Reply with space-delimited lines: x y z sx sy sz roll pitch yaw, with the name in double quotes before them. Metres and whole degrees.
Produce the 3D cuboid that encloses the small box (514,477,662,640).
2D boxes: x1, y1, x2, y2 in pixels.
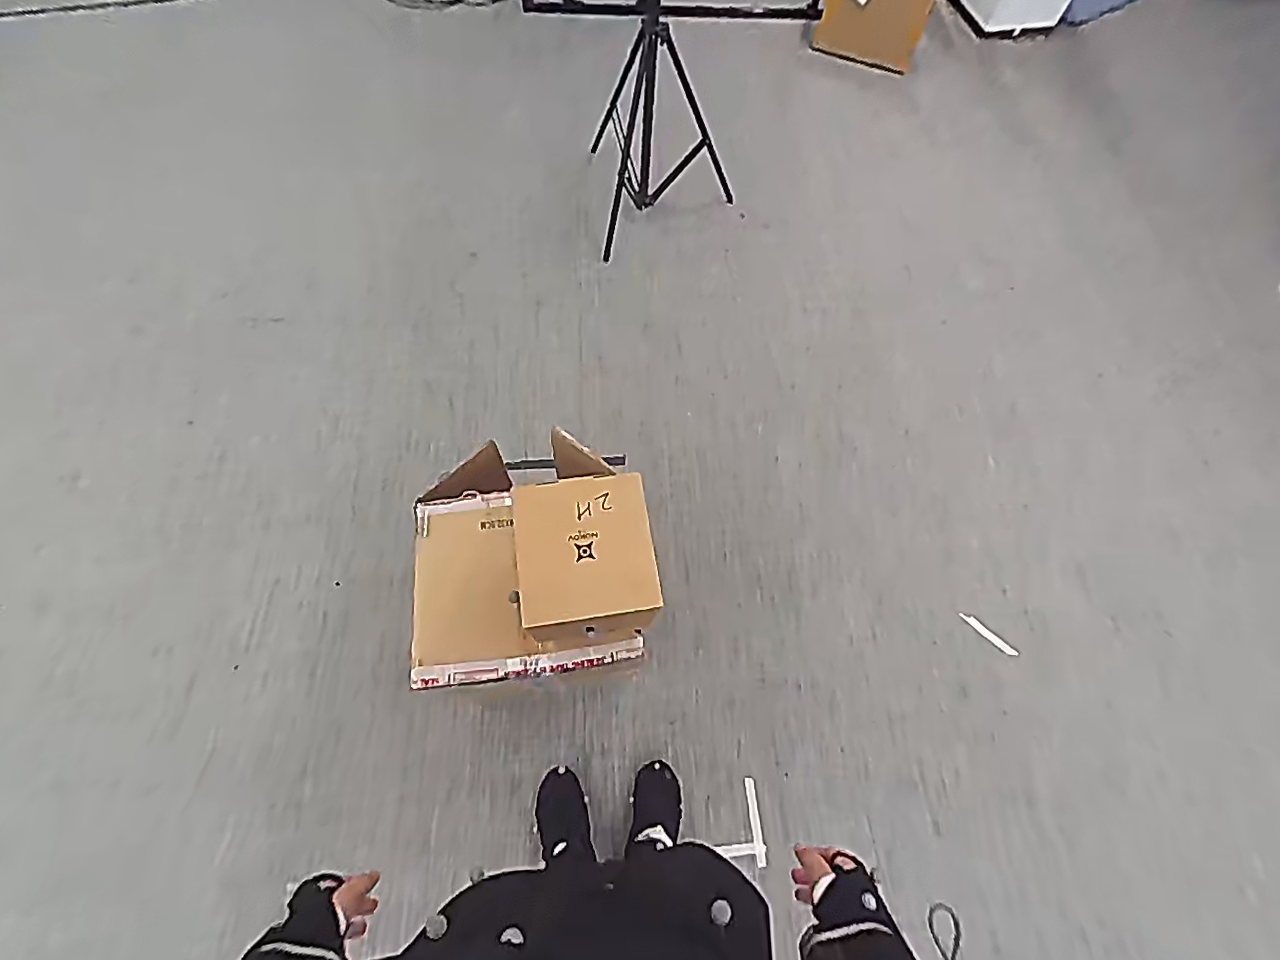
"small box" -0.071 0.113 0.728 0.168 0.176 0.179 -7 68 -8
